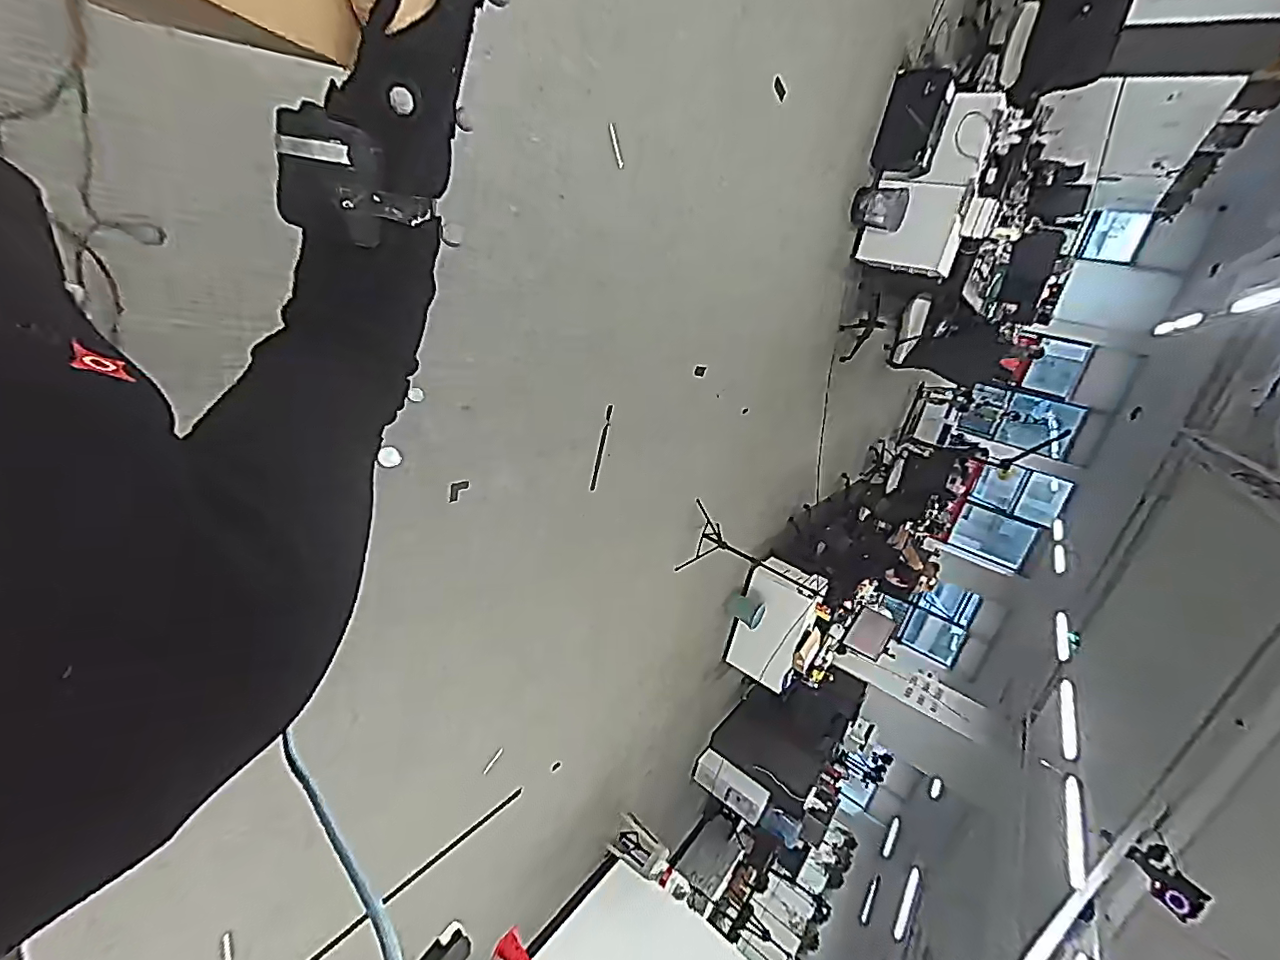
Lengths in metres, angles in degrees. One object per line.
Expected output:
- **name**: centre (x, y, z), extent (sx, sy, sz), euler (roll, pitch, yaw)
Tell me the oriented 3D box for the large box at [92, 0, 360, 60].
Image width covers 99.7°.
- **large box**: centre (-0.338, -0.396, 0.143), extent (0.408, 0.320, 0.320), euler (-16, 132, -56)
